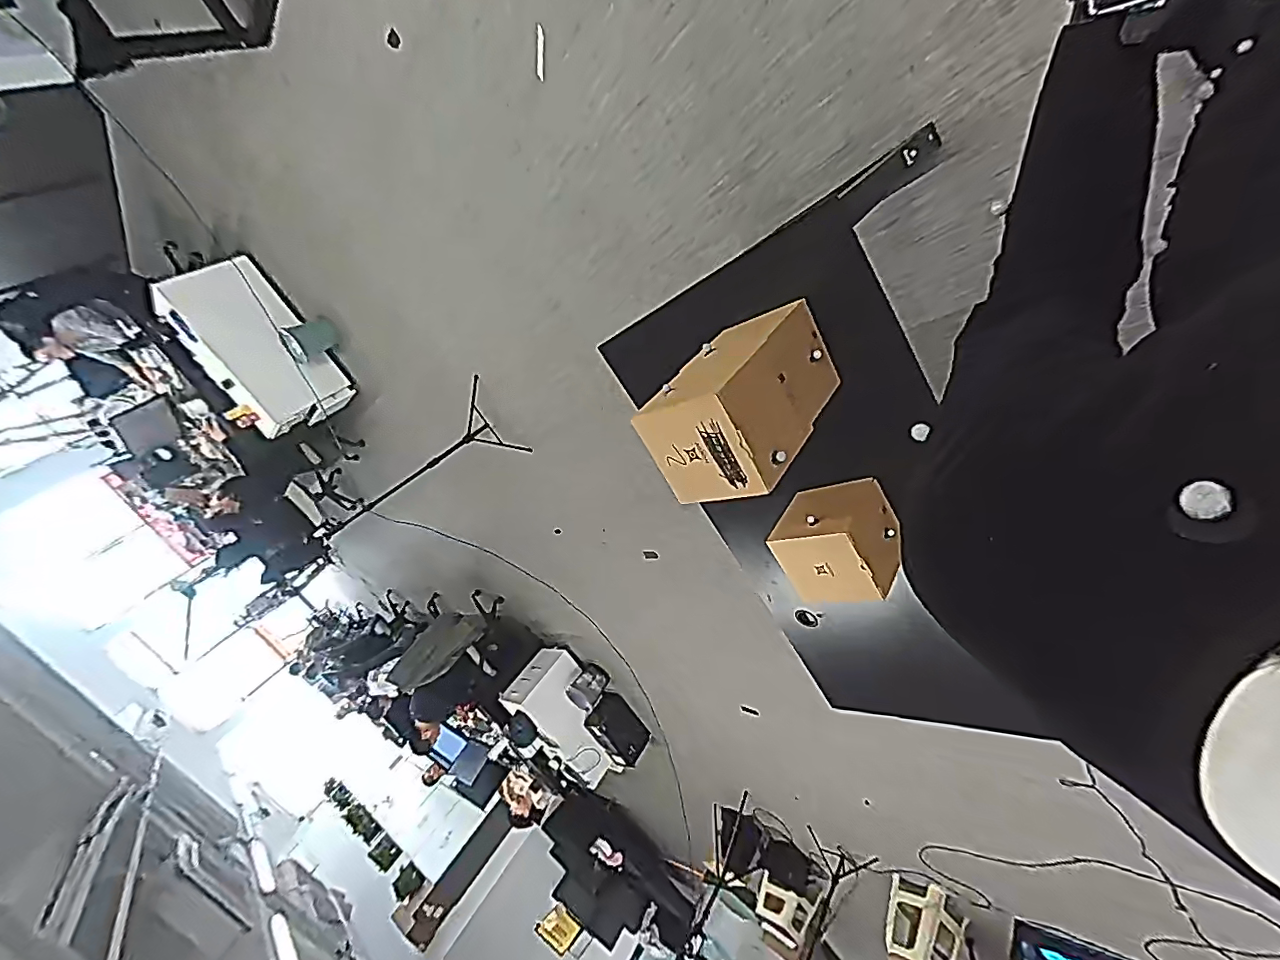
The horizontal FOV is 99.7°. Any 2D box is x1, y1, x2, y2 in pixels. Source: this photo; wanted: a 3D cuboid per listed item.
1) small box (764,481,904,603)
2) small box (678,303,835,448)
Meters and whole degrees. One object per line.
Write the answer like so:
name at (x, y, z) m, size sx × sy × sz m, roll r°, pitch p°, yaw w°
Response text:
small box at (0.383, 0.123, 1.060) m, size 0.179 × 0.176 × 0.168 m, roll -17°, pitch 113°, yaw 49°
small box at (0.204, -0.177, 0.932) m, size 0.179 × 0.176 × 0.168 m, roll -9°, pitch 120°, yaw 47°
